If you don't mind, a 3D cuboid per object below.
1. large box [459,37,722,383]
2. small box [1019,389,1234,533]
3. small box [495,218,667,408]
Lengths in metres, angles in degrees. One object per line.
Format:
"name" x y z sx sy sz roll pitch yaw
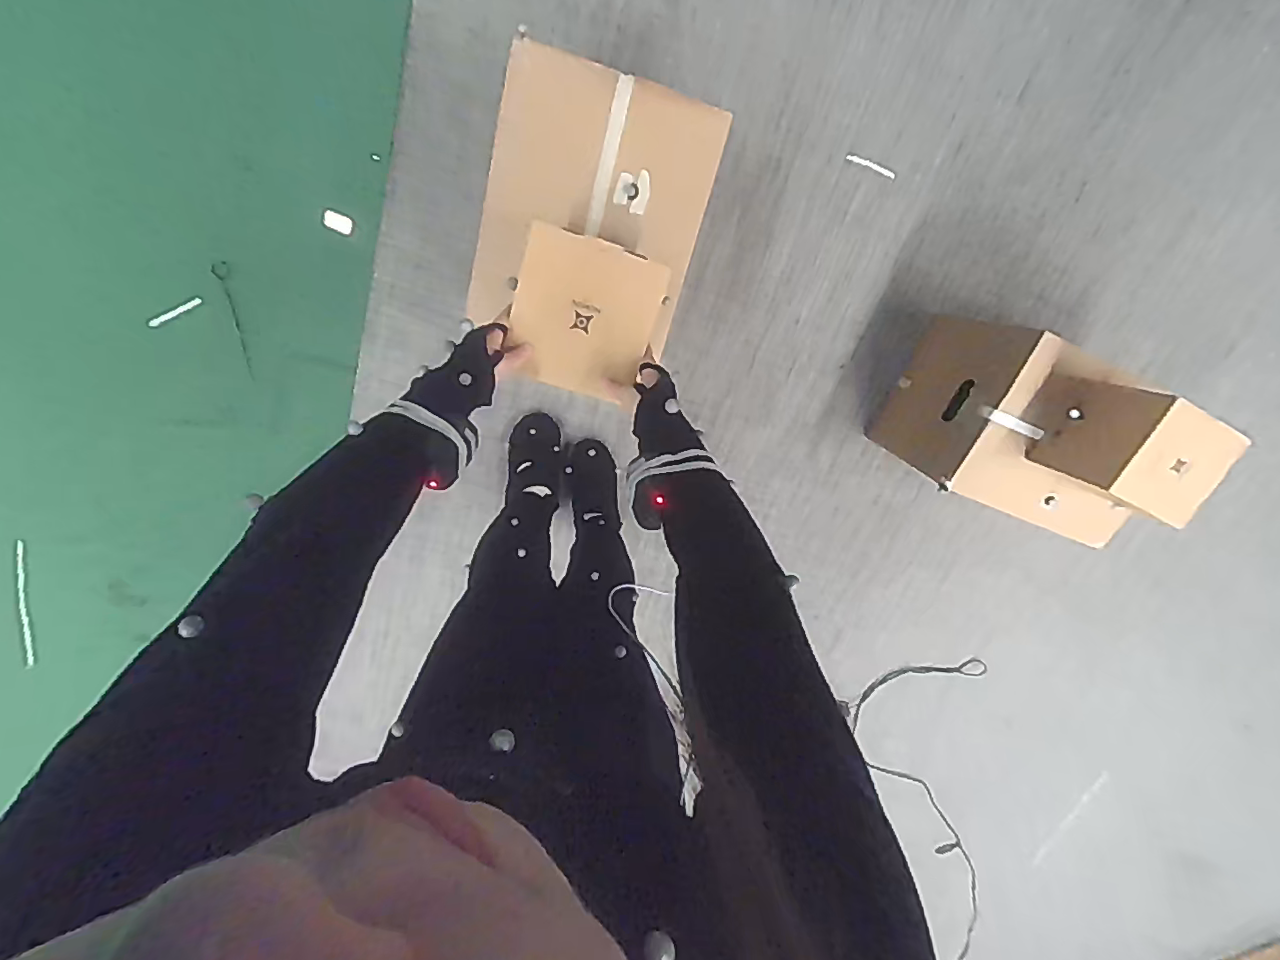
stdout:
"large box" -0.093 -0.422 0.938 0.320 0.320 0.408 14 109 -11
"small box" 0.812 -0.040 0.921 0.179 0.176 0.168 23 105 -14
"small box" -0.076 -0.219 0.710 0.168 0.176 0.179 17 110 -11
